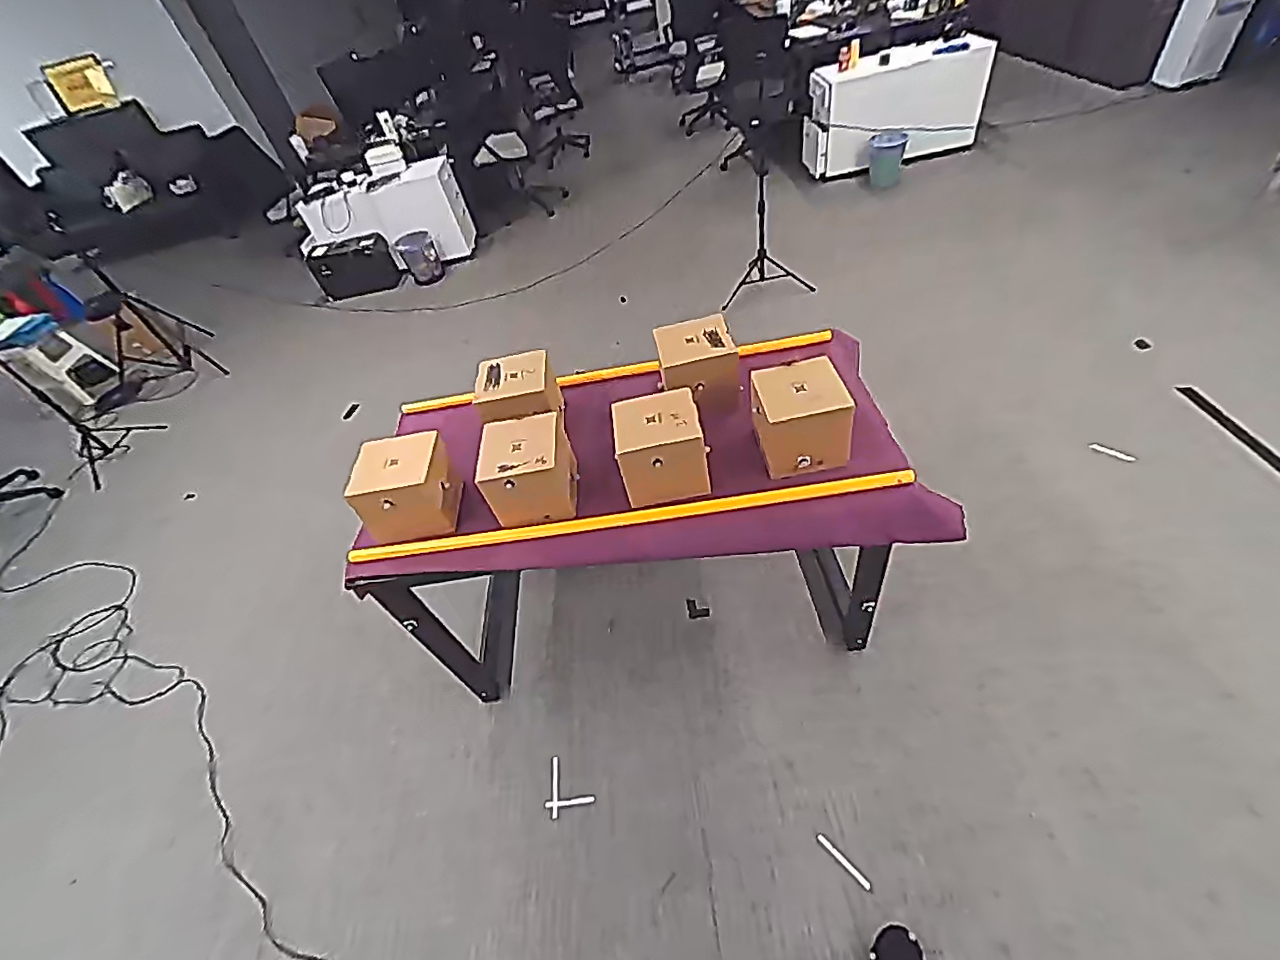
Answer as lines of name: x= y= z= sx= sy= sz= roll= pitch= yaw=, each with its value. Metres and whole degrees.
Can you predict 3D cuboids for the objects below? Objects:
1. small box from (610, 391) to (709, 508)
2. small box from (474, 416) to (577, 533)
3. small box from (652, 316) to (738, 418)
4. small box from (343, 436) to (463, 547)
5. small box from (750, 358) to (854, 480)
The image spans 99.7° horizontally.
small box: x=0.041 y=-0.059 z=1.147 sx=0.179 sy=0.176 sz=0.168 roll=-11 pitch=45 yaw=3
small box: x=-0.239 y=-0.010 z=1.175 sx=0.168 sy=0.176 sz=0.179 roll=-11 pitch=46 yaw=5
small box: x=0.137 y=-0.265 z=1.315 sx=0.179 sy=0.176 sz=0.168 roll=-13 pitch=47 yaw=4
small box: x=-0.515 y=0.029 z=1.207 sx=0.179 sy=0.176 sz=0.168 roll=-10 pitch=46 yaw=4
small box: x=0.332 y=-0.126 z=1.134 sx=0.168 sy=0.176 sz=0.179 roll=-12 pitch=44 yaw=6
